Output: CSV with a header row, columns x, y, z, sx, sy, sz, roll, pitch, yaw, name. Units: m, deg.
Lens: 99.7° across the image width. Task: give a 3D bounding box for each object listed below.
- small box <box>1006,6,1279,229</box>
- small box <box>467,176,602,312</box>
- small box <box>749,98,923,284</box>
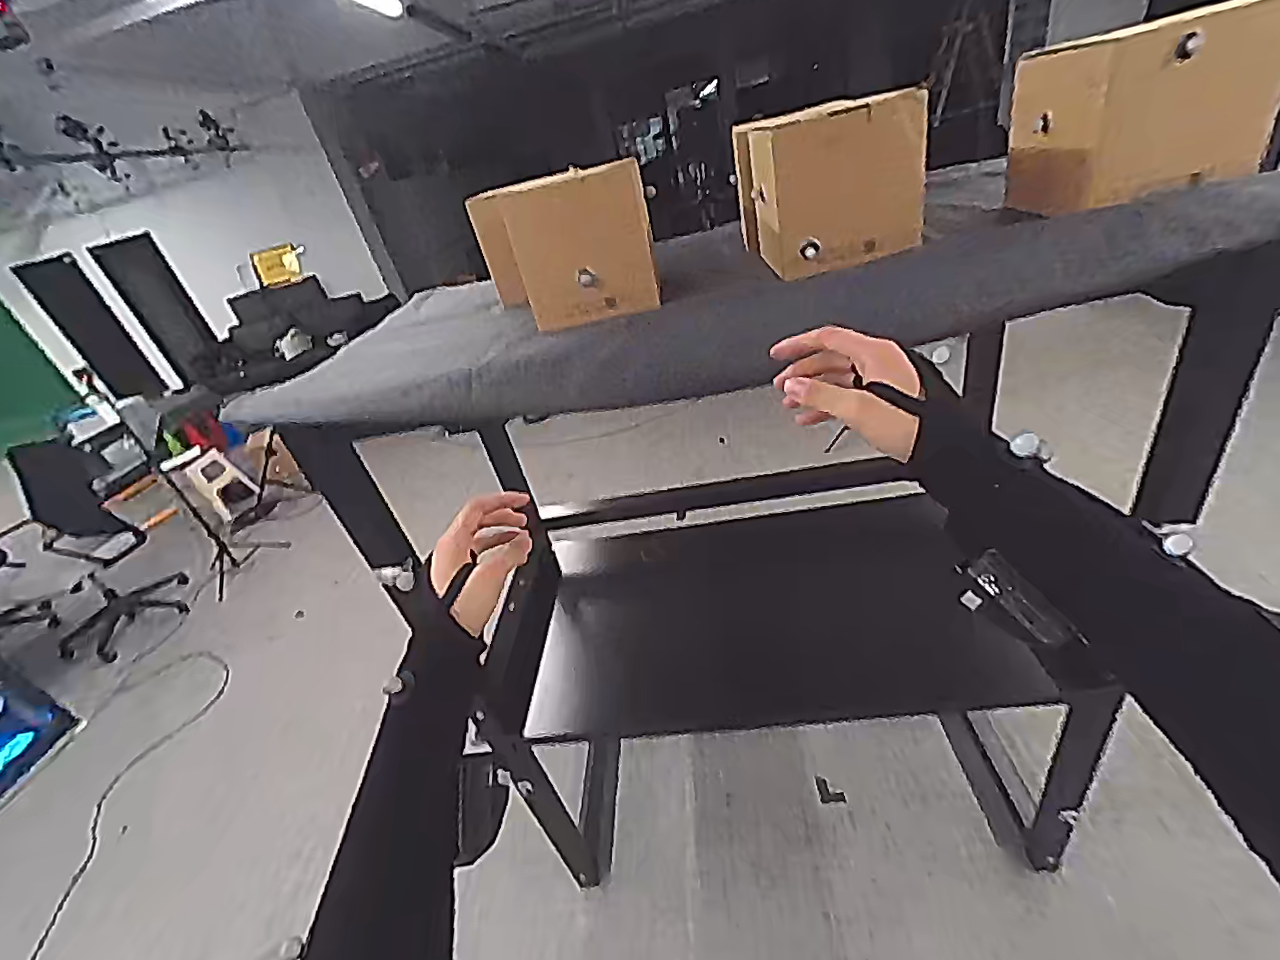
x,y,z,sx,sy,sz,roll,pitch,yaw,name
0.551,-0.397,0.617,0.168,0.176,0.179,-10,31,9,small box
-0.168,-0.409,0.935,0.179,0.176,0.168,-10,32,6,small box
0.243,-0.363,0.694,0.168,0.176,0.179,-10,31,7,small box
